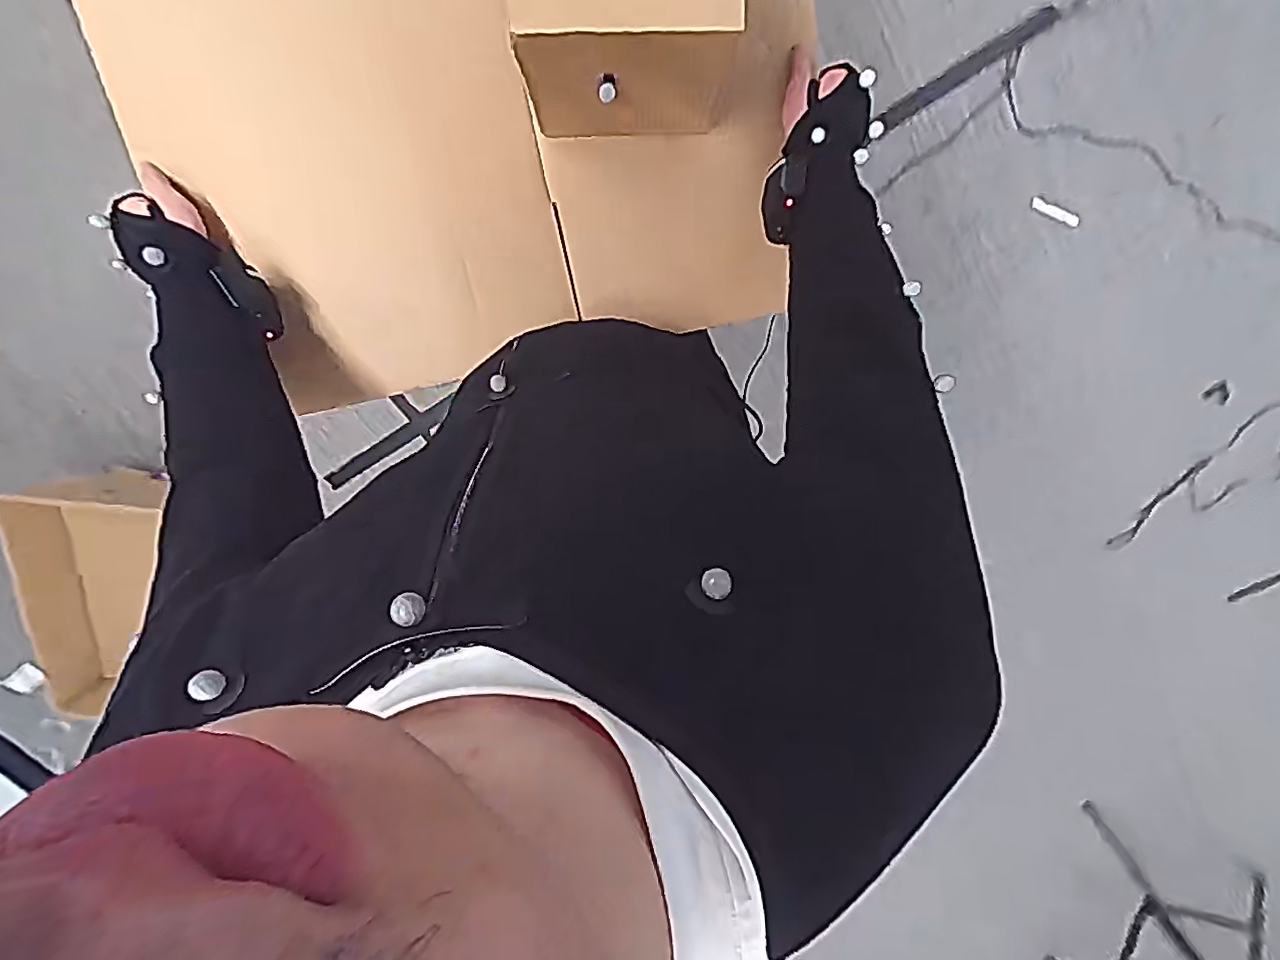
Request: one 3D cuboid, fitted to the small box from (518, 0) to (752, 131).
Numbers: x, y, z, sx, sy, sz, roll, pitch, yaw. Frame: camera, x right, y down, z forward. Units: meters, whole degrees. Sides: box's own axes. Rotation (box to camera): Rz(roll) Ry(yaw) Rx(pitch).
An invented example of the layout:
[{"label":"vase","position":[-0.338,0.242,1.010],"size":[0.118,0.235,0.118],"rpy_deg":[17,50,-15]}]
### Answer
[{"label":"small box","position":[-0.004,-0.427,0.468],"size":[0.179,0.176,0.168],"rpy_deg":[-1,101,0]}]
